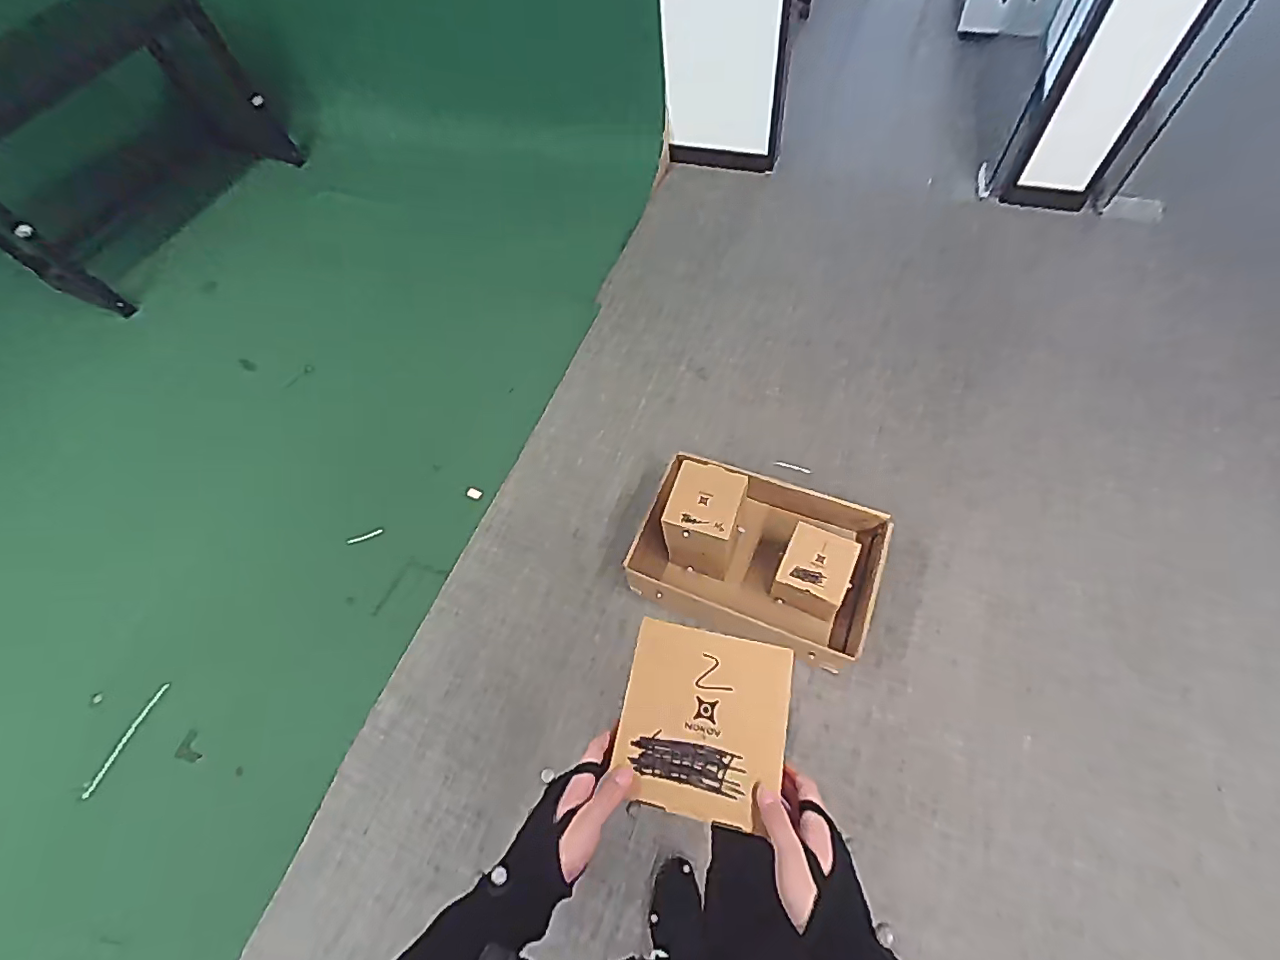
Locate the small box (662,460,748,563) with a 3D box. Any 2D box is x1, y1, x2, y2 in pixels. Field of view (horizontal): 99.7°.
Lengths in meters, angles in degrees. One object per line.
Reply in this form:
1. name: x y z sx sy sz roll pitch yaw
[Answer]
1. small box: 0.161 0.081 1.349 0.168 0.176 0.179 16 65 15
